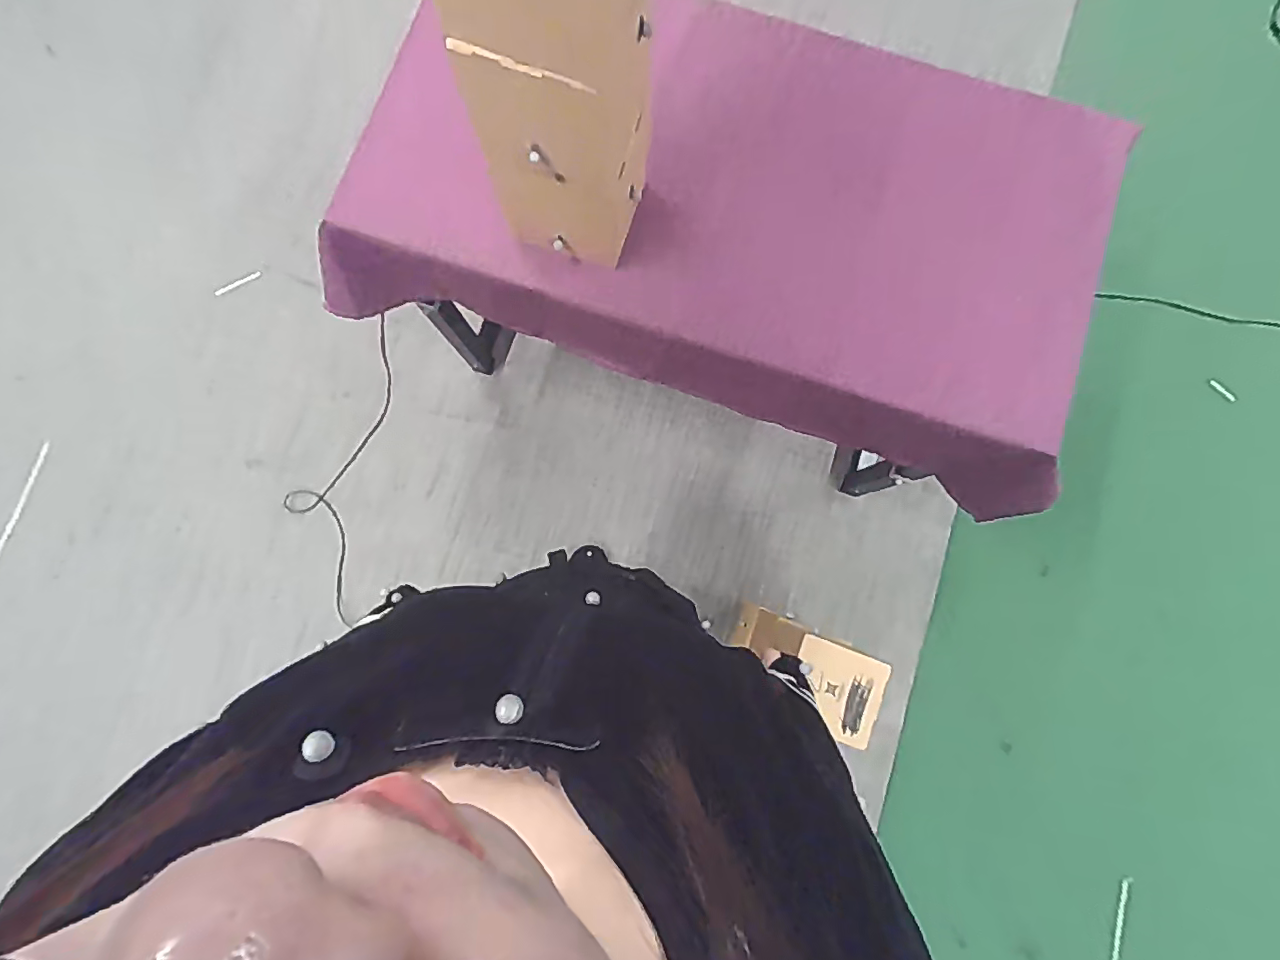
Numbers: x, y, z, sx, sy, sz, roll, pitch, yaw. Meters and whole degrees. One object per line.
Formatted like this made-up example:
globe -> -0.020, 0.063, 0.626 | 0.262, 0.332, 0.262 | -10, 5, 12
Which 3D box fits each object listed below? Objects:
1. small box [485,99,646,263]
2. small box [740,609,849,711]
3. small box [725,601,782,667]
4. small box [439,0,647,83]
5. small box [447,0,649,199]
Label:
small box -> -0.100, -0.448, 0.795 | 0.179, 0.176, 0.168 | 17, 81, 0
small box -> 0.350, 0.408, 1.260 | 0.179, 0.176, 0.168 | 20, 83, 0
small box -> 0.338, 0.426, 1.421 | 0.179, 0.176, 0.168 | 22, 82, 1
small box -> -0.085, -0.499, 0.470 | 0.179, 0.176, 0.168 | 20, 82, 1
small box -> -0.094, -0.476, 0.633 | 0.168, 0.176, 0.179 | 18, 82, 2
